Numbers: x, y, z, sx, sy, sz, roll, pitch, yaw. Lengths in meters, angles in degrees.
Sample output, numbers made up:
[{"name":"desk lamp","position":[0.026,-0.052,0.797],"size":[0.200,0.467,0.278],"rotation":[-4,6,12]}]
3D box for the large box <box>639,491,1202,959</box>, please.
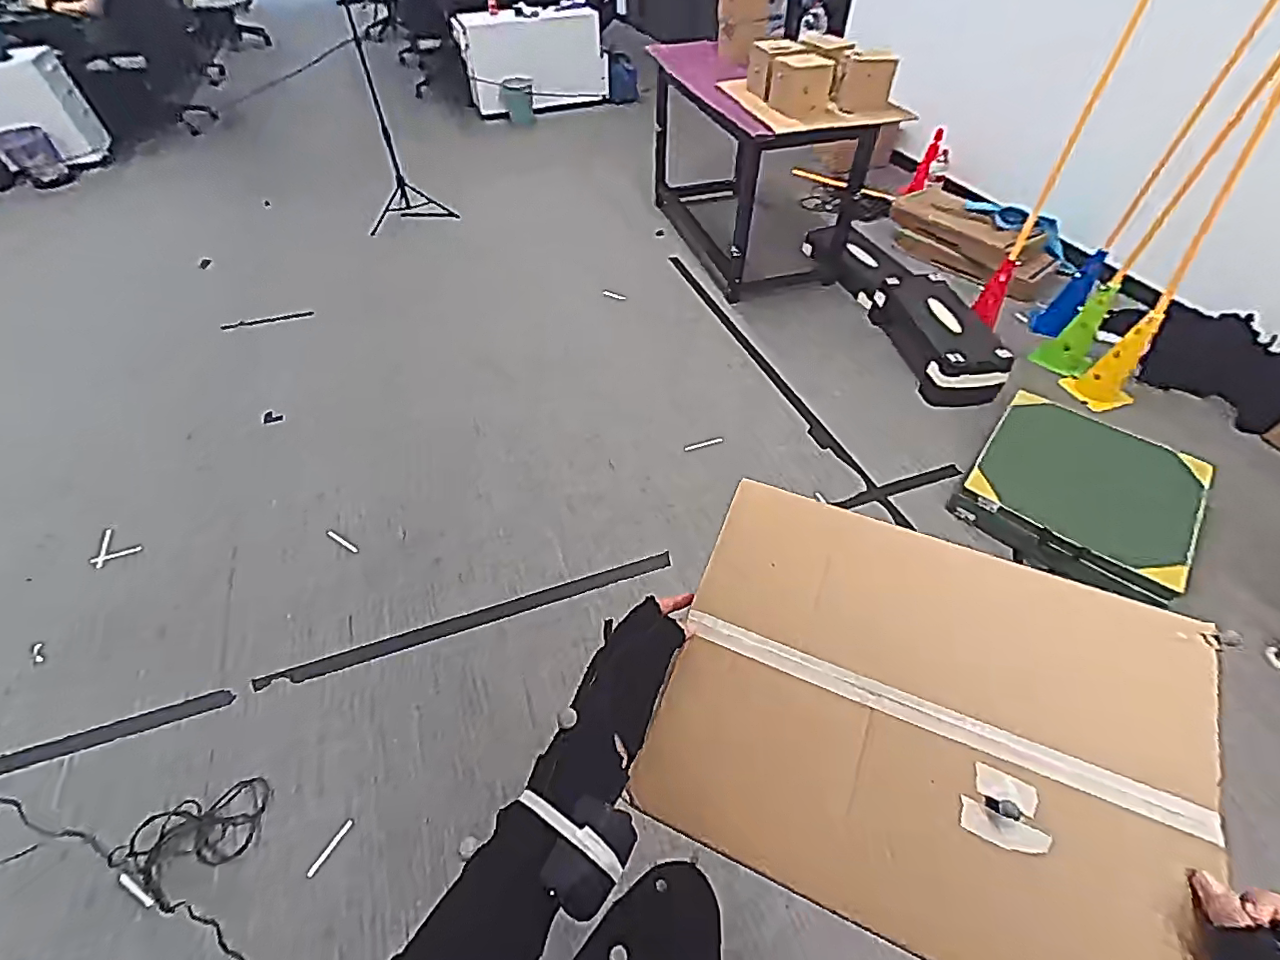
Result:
[{"name":"large box","position":[0.249,0.262,0.587],"size":[0.408,0.320,0.320],"rotation":[19,67,16]}]
